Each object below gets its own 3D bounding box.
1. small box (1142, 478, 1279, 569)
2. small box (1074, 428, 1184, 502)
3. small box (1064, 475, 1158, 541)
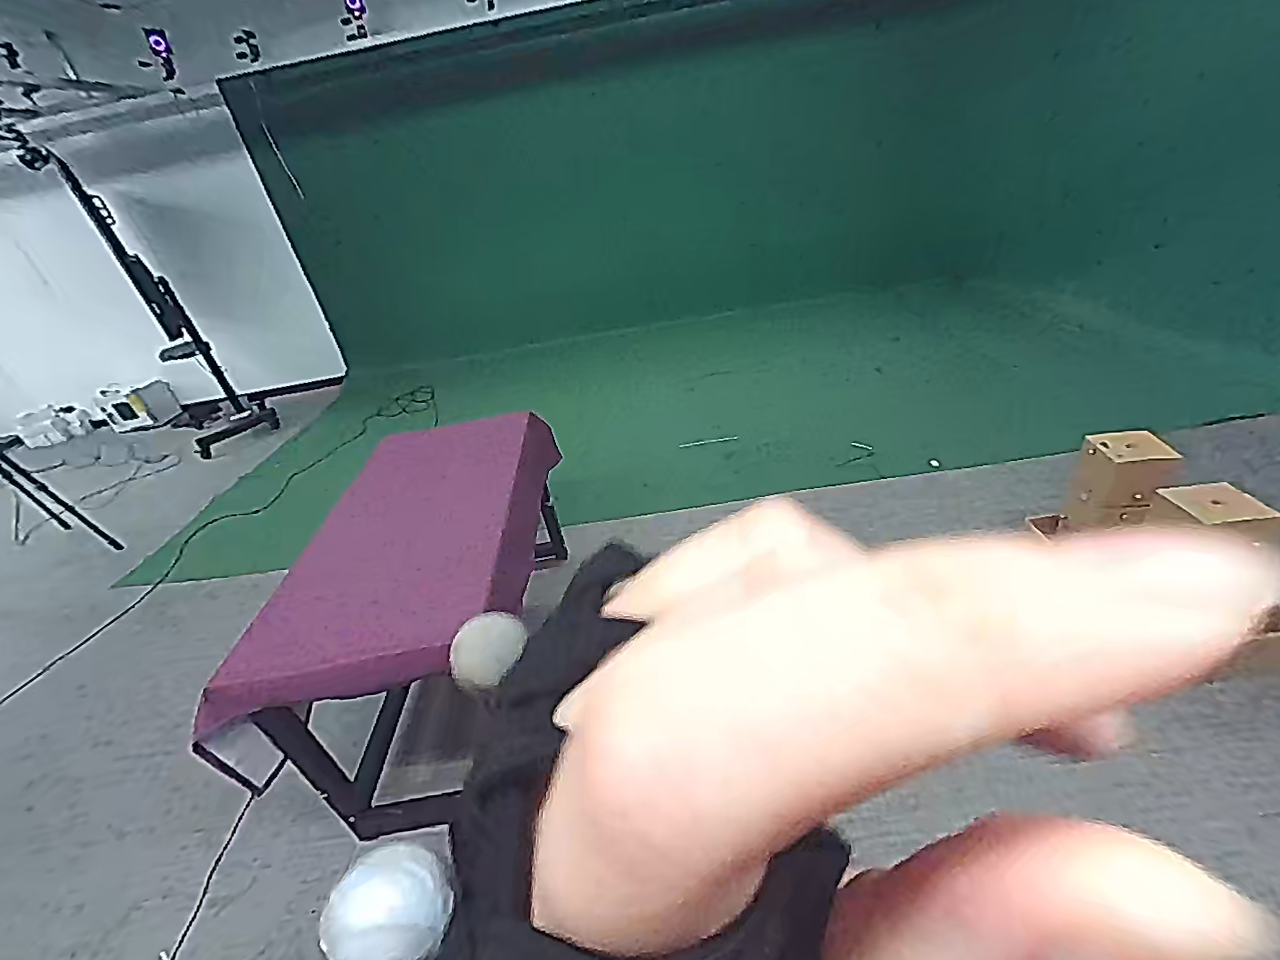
[{"bbox_3d":[1.503,0.117,1.434,0.179,0.176,0.168,-8,31,6],"label":"small box"},{"bbox_3d":[1.510,-0.046,1.684,0.179,0.176,0.168,-4,32,10],"label":"small box"},{"bbox_3d":[1.540,0.087,1.778,0.179,0.176,0.168,-5,33,9],"label":"small box"}]
